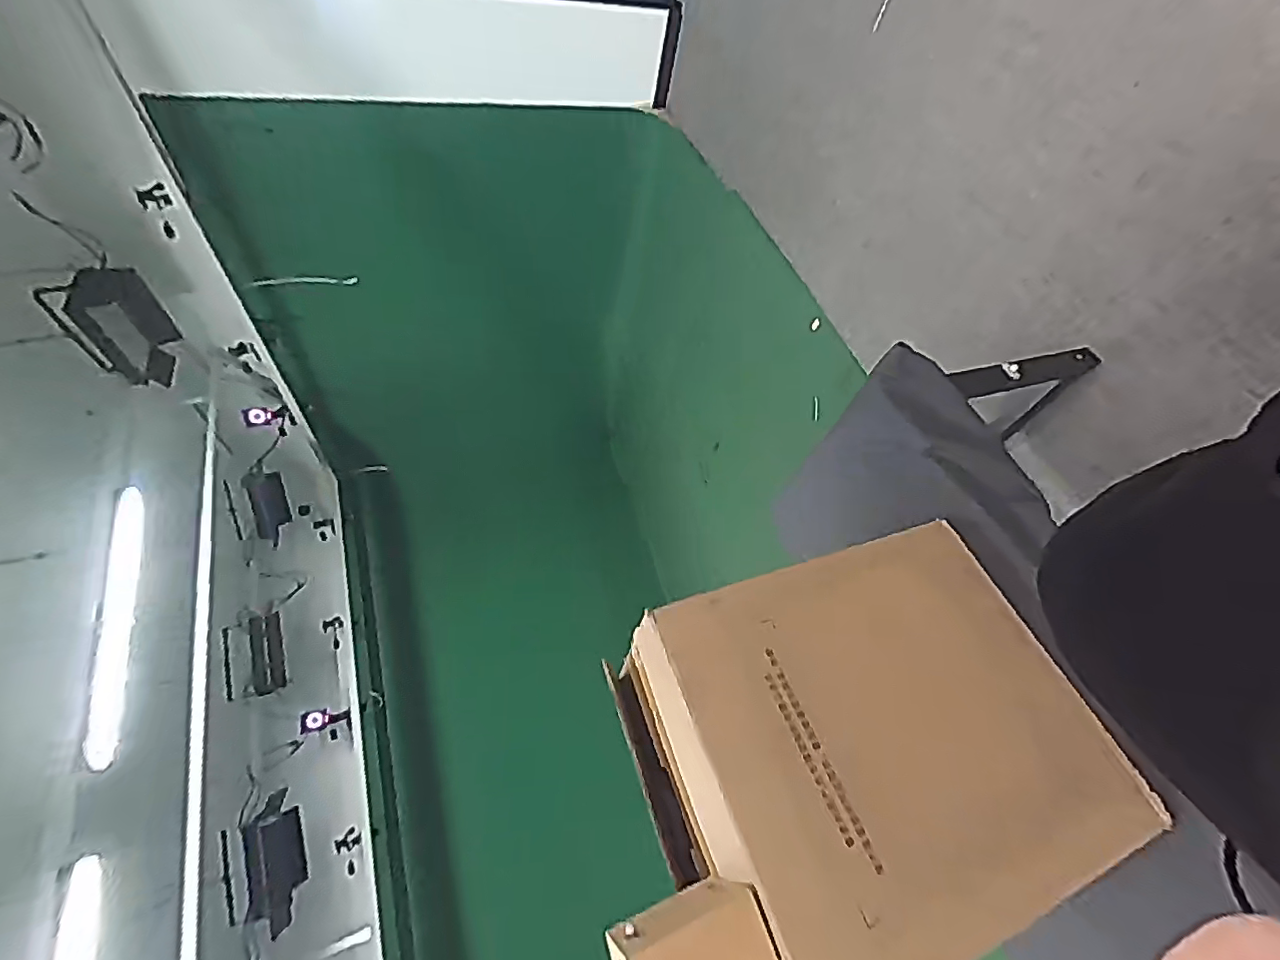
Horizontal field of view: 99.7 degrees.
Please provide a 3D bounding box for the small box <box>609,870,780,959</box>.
[{"bbox_3d":[0.080,0.625,0.665,0.168,0.176,0.179,112,138,-56],"label":"small box"}]
